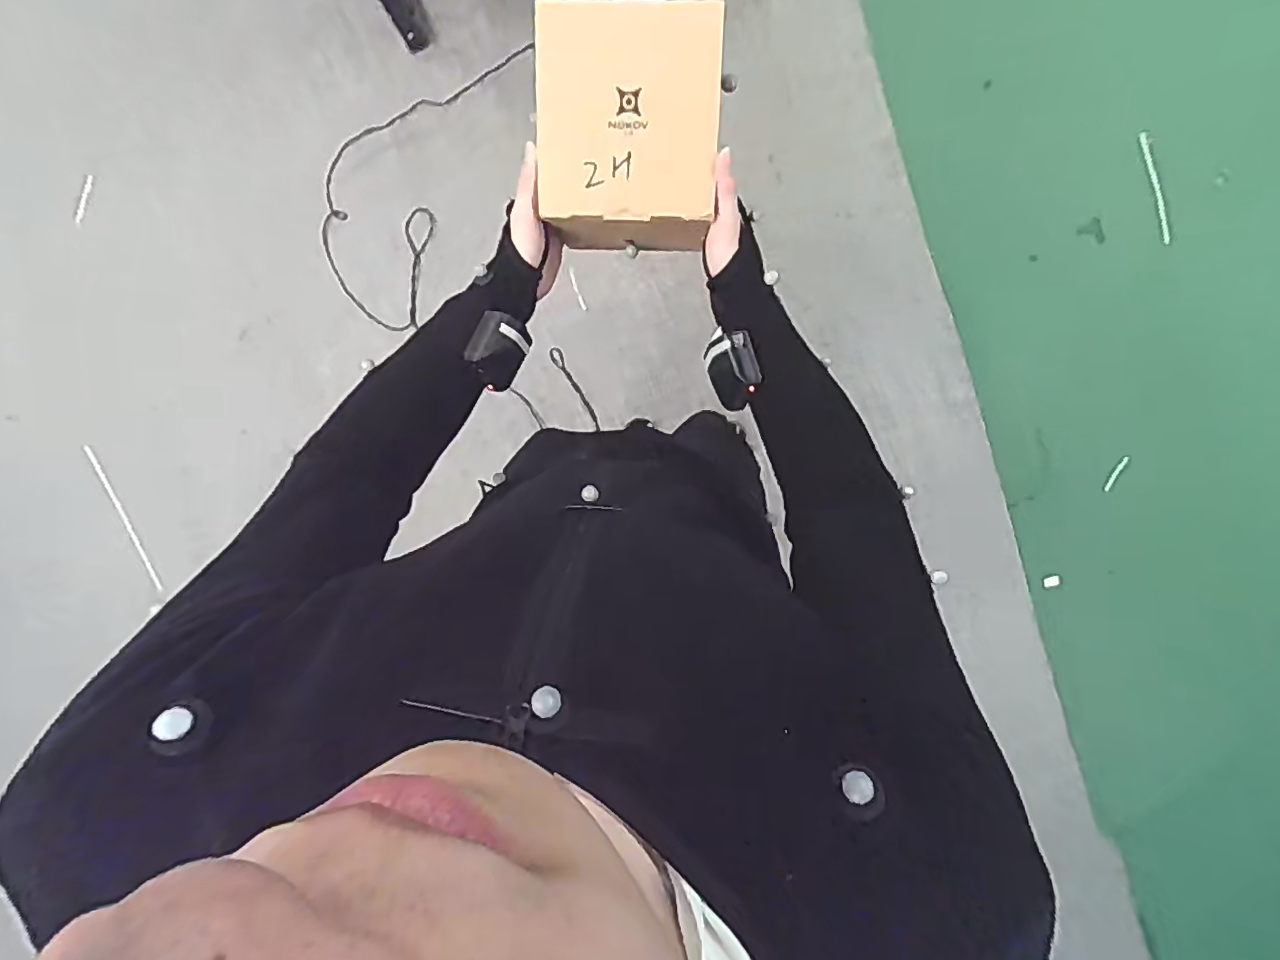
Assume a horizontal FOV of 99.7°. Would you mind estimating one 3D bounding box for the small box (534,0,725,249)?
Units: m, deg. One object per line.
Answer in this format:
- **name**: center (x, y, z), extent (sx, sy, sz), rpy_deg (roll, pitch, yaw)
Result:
- **small box**: center (-0.009, -0.348, 0.554), extent (0.168, 0.176, 0.179), rpy_deg (1, 103, 2)
